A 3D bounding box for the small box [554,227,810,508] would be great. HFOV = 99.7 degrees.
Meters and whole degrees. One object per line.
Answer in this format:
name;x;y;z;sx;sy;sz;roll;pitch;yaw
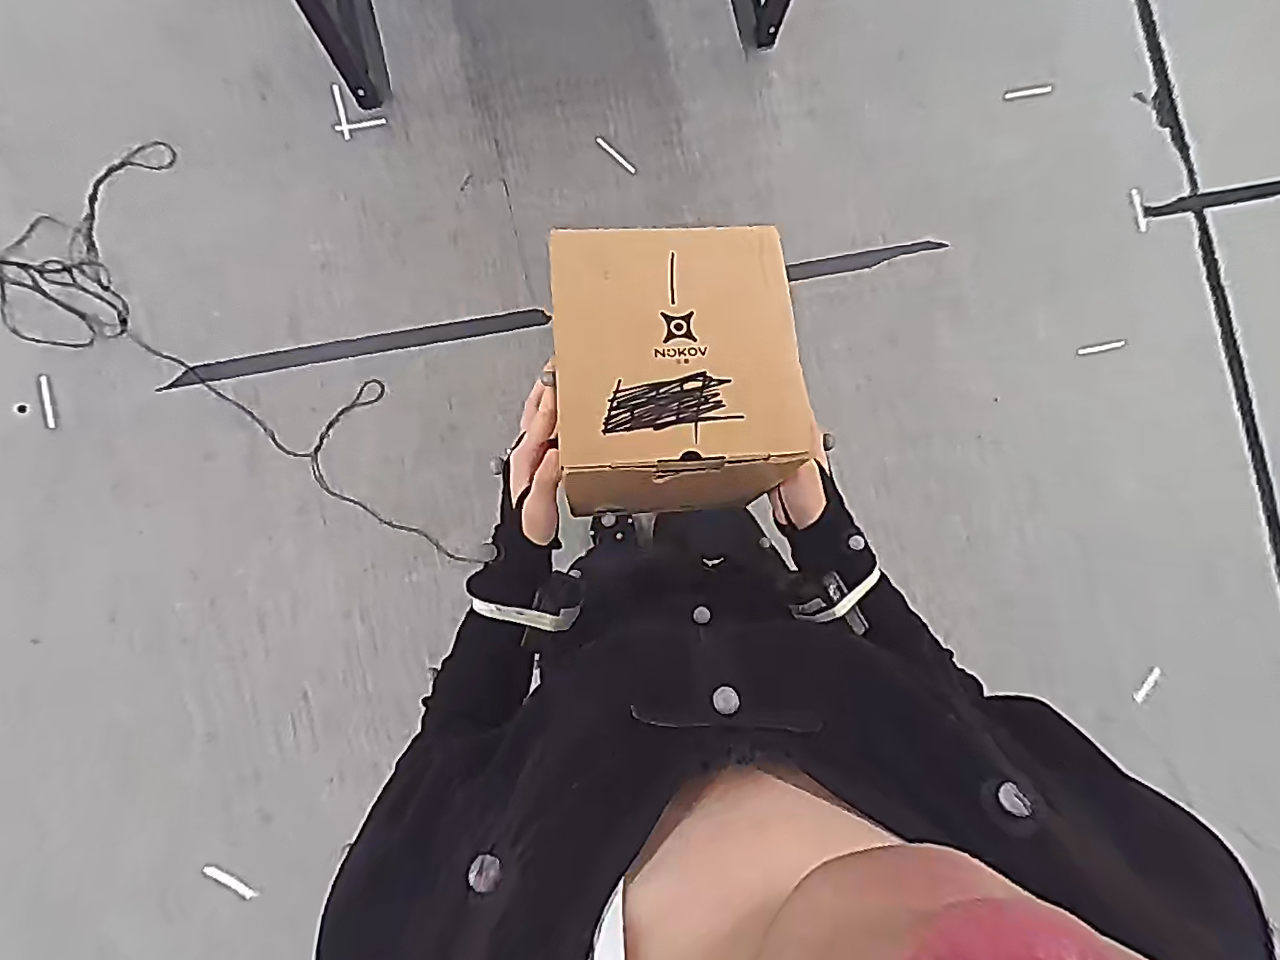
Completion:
small box;0.021;-0.075;0.441;0.168;0.176;0.179;-3;76;-5
